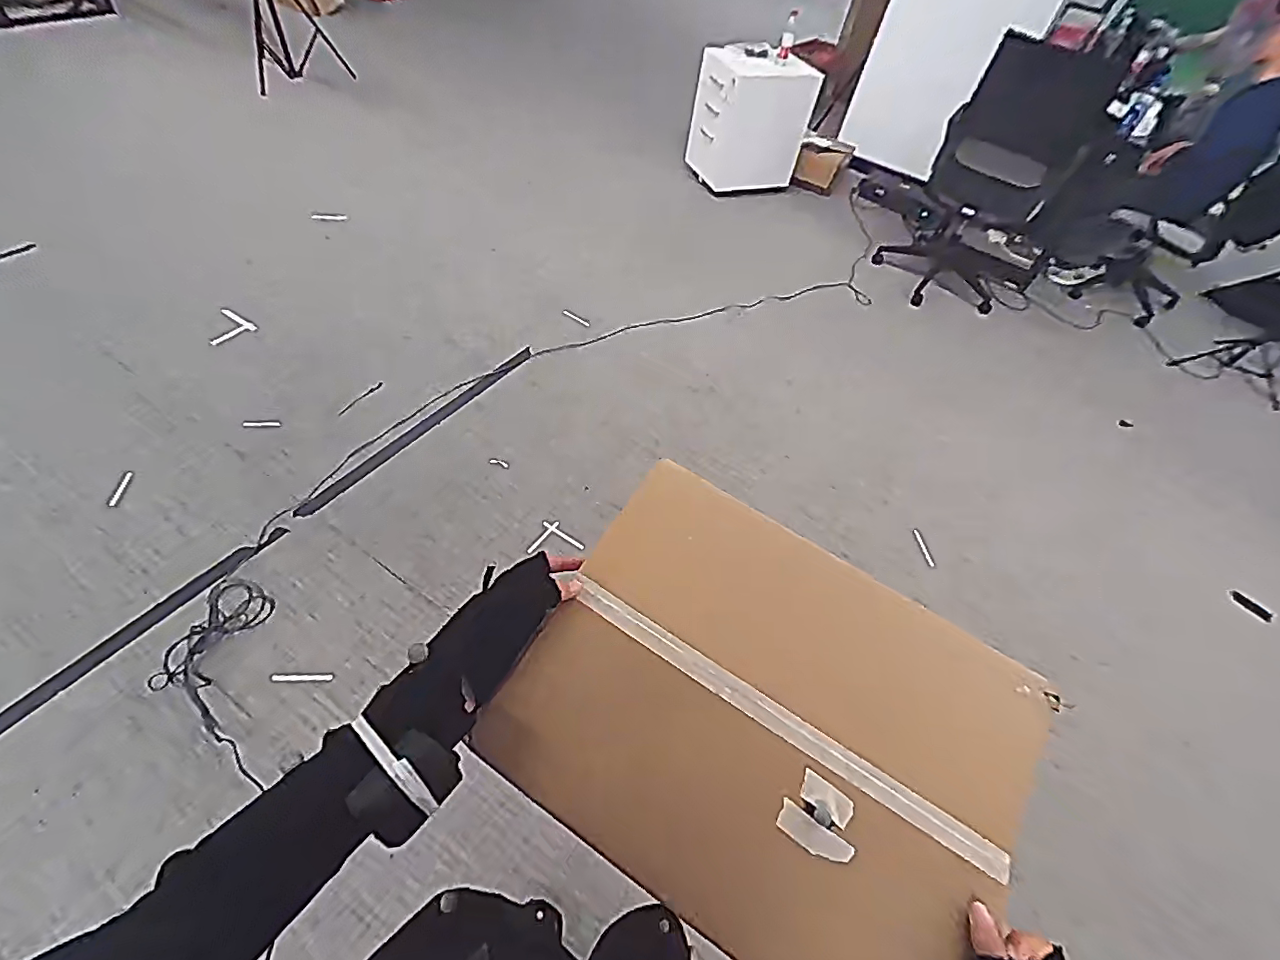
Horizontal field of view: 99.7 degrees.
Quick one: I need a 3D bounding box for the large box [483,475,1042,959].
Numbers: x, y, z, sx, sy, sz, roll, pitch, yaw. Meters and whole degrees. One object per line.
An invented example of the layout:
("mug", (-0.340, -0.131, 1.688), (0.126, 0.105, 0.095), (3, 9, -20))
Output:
("large box", (0.106, 0.267, 0.599), (0.408, 0.320, 0.320), (32, 68, 12))
